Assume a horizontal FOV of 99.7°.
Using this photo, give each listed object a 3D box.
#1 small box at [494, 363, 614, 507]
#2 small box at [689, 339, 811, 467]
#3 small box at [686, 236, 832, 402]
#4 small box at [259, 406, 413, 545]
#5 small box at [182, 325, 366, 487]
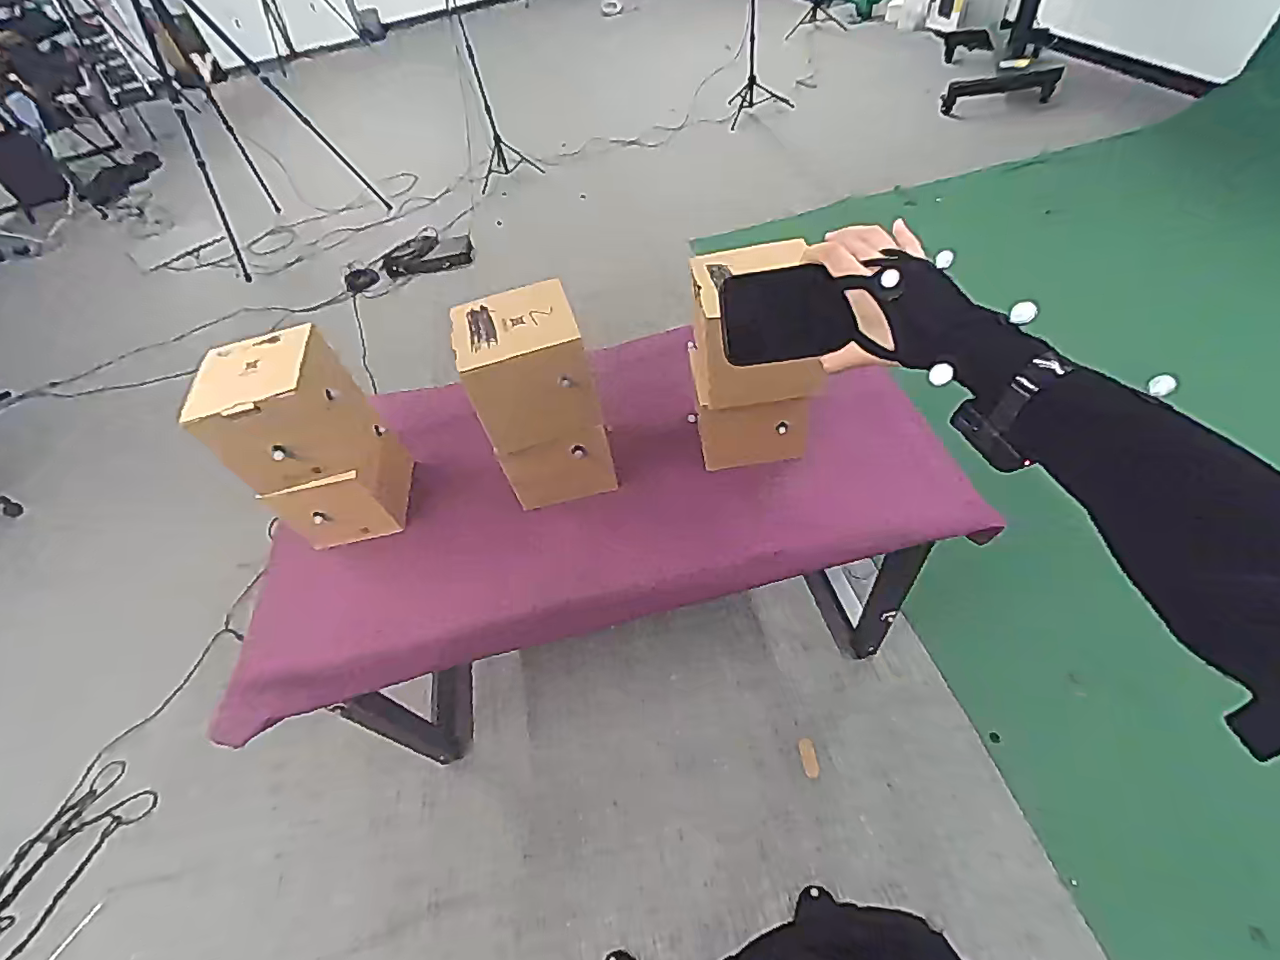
[{"bbox_3d":[-0.148,-0.076,0.960,0.179,0.176,0.168,-14,50,0],"label":"small box"},{"bbox_3d":[0.186,-0.144,0.952,0.179,0.176,0.168,-9,50,5],"label":"small box"},{"bbox_3d":[0.173,-0.236,0.817,0.179,0.176,0.168,-9,50,3],"label":"small box"},{"bbox_3d":[-0.531,0.000,0.975,0.168,0.176,0.179,-13,50,0],"label":"small box"},{"bbox_3d":[-0.557,-0.108,0.854,0.168,0.176,0.179,-17,51,-3],"label":"small box"}]
